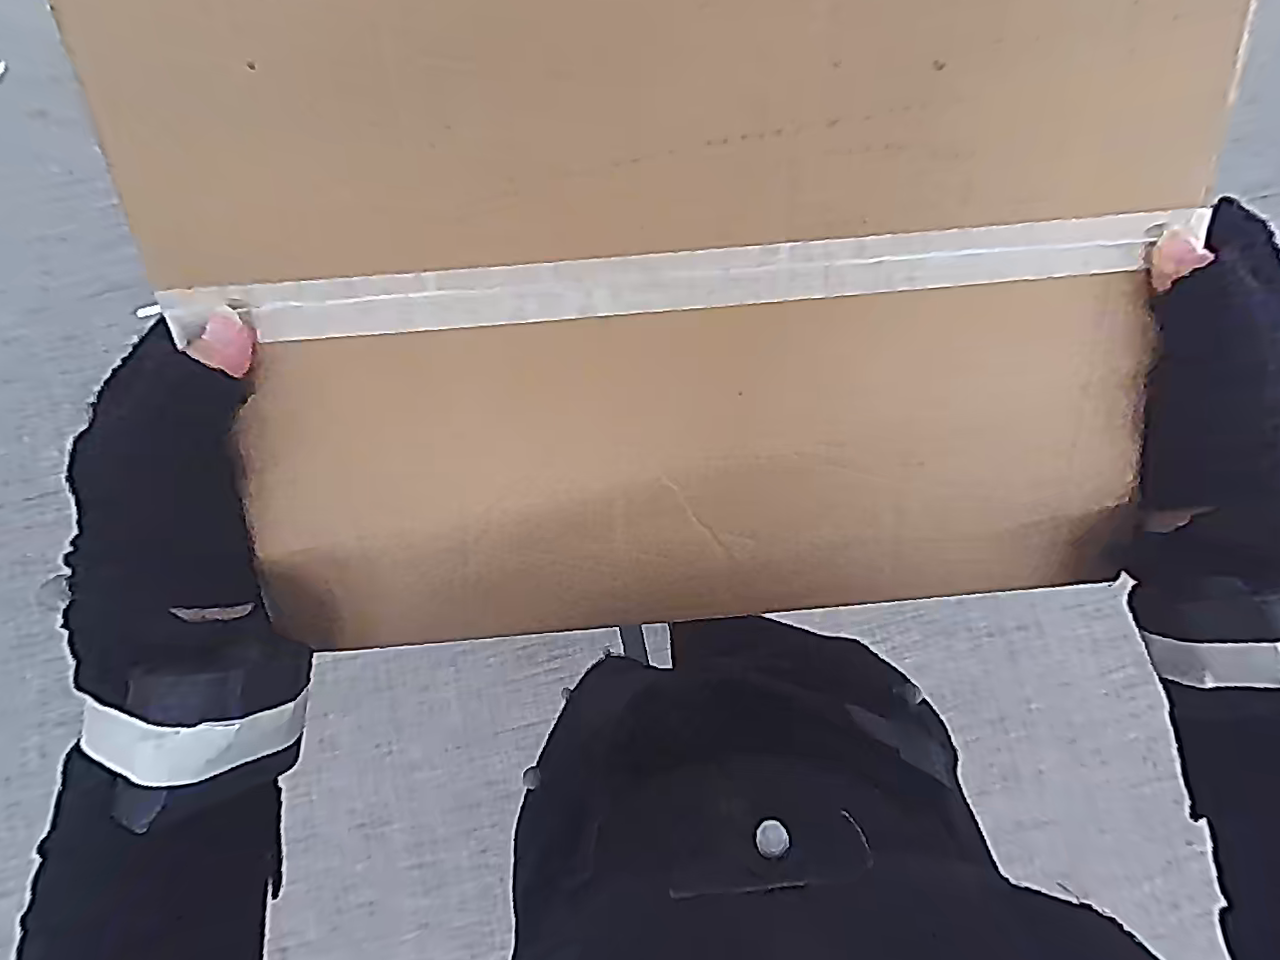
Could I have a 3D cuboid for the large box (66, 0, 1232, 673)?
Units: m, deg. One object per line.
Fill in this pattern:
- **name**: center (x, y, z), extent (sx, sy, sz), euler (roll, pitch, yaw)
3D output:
- **large box**: center (0.014, -0.117, 0.362), extent (0.408, 0.320, 0.320), euler (-5, 110, -1)
